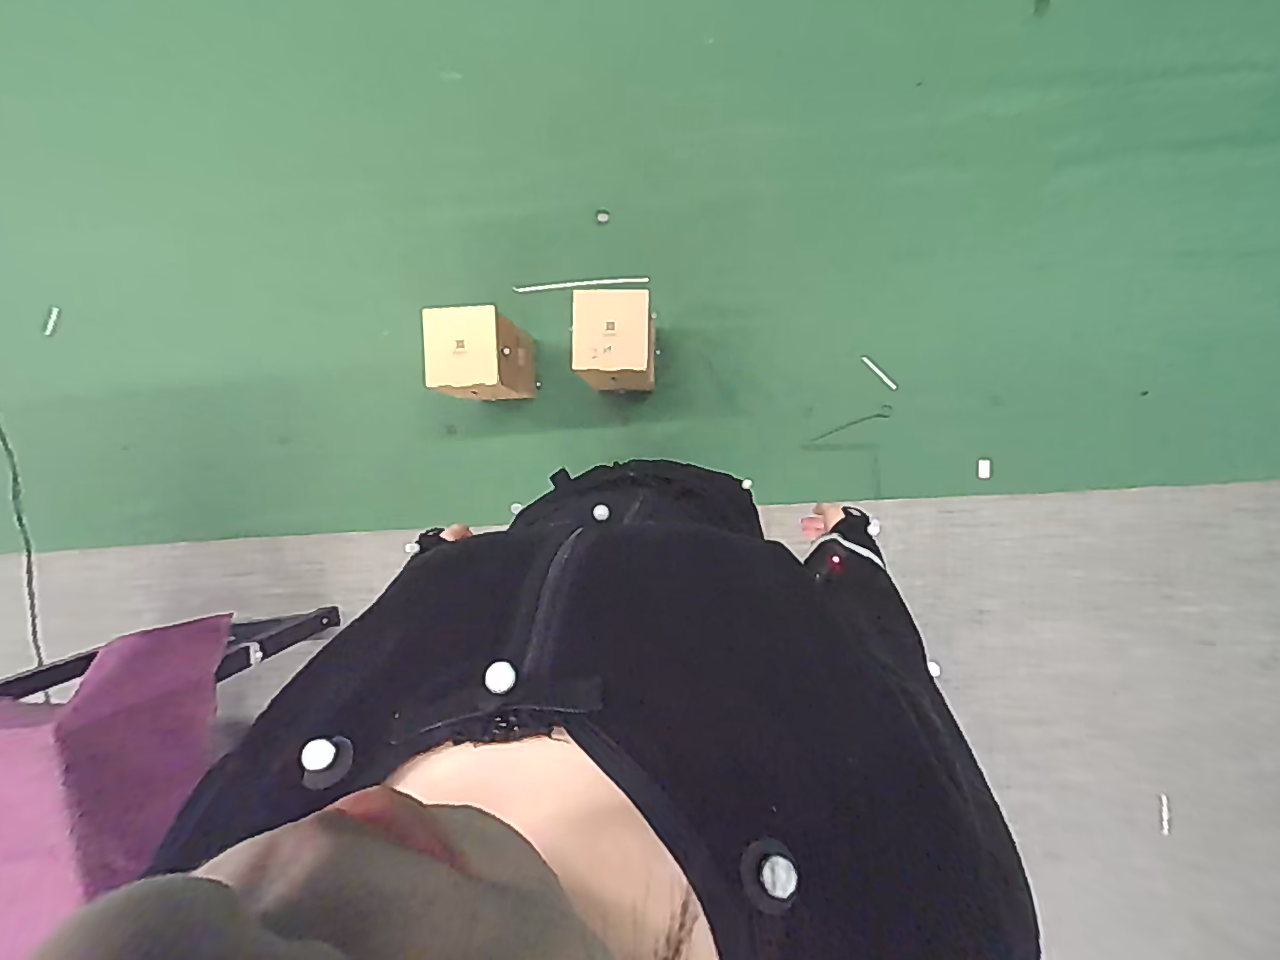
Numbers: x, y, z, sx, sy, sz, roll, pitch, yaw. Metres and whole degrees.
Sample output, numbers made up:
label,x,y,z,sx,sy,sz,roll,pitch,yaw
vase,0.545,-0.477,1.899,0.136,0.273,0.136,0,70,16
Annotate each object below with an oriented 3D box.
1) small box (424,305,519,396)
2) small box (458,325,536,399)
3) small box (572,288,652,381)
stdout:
label,x,y,z,sx,sy,sz,roll,pitch,yaw
small box,-0.390,-0.298,1.272,0.168,0.176,0.179,-2,92,5
small box,-0.379,-0.308,1.435,0.179,0.176,0.168,-2,92,5
small box,-0.060,-0.329,1.245,0.168,0.176,0.179,2,93,4
